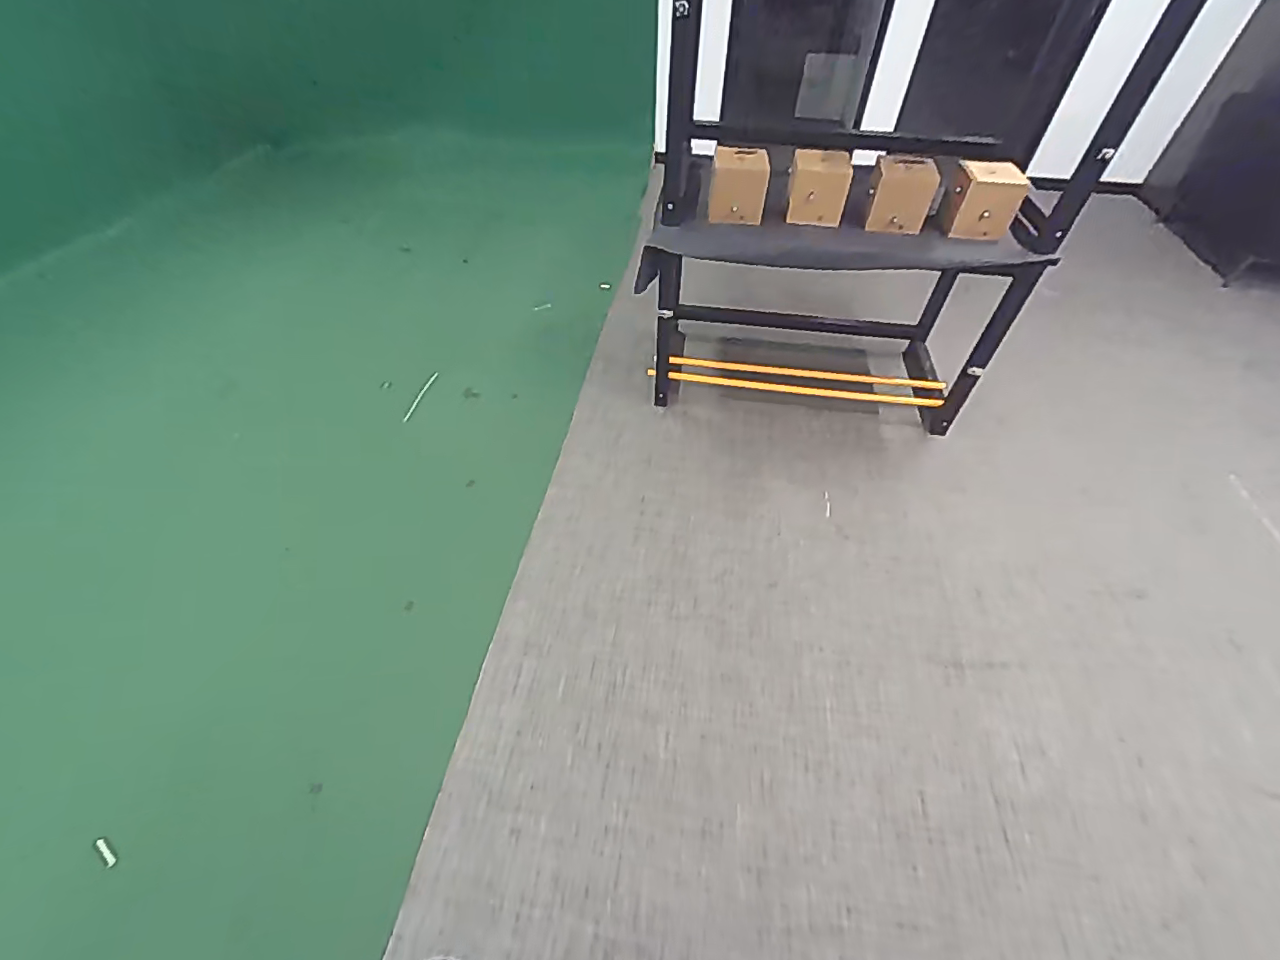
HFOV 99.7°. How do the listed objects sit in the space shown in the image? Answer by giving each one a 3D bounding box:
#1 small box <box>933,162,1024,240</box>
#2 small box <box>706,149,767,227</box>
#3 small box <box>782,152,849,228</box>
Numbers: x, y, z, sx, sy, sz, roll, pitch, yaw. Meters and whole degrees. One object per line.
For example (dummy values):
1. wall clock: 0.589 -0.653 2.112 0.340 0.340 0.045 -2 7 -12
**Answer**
1. small box: 1.042 -0.865 1.681 0.168 0.176 0.179 6 48 4
2. small box: 0.302 -0.932 1.729 0.168 0.176 0.179 3 49 2
3. small box: 0.556 -0.930 1.734 0.168 0.176 0.179 7 48 5
